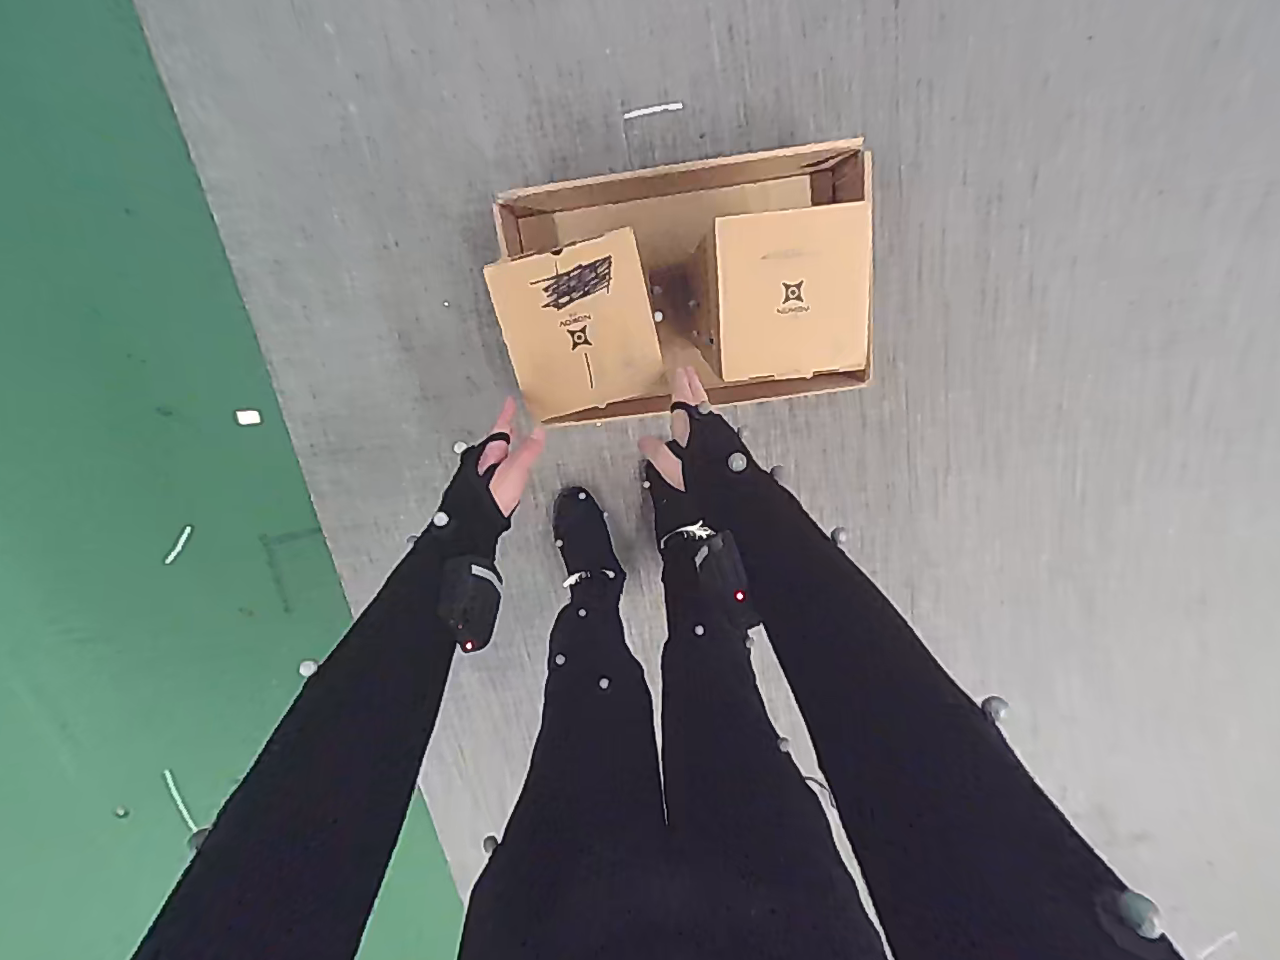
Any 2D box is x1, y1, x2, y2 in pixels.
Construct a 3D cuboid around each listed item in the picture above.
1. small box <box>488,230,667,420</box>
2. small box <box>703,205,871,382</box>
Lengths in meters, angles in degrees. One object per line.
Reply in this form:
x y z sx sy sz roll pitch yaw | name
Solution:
-0.069 -0.187 0.673 0.168 0.176 0.179 -14 106 3 | small box
0.169 -0.225 0.668 0.168 0.176 0.179 -4 107 3 | small box
